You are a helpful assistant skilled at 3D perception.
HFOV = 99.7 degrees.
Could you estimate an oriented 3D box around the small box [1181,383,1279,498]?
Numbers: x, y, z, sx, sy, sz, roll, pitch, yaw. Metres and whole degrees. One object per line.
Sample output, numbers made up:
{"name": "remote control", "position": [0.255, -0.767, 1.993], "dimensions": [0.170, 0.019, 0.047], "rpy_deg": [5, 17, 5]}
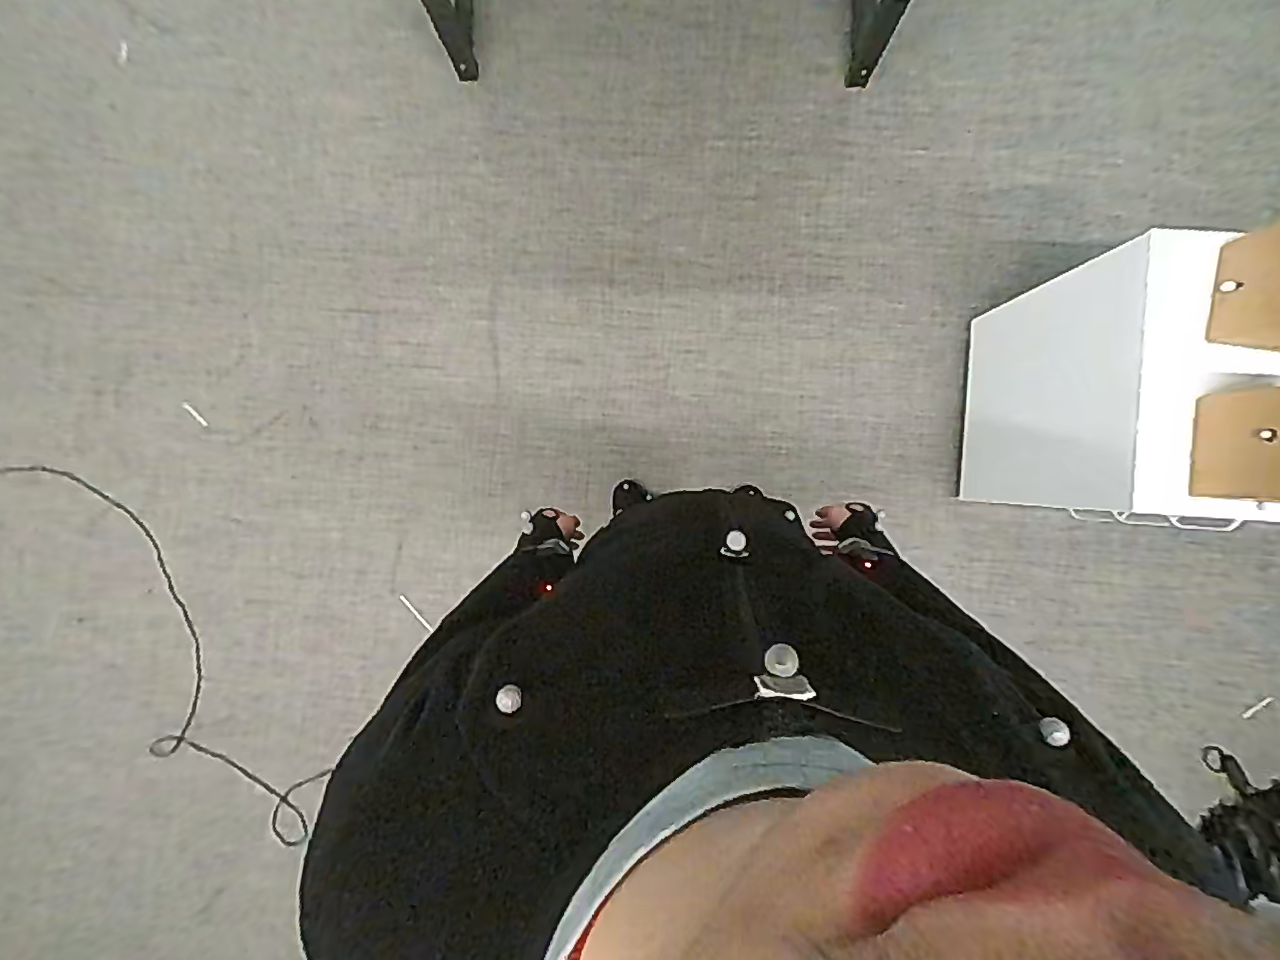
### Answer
{"name": "small box", "position": [1.053, -0.061, 0.890], "dimensions": [0.168, 0.176, 0.179], "rpy_deg": [3, 90, 0]}
